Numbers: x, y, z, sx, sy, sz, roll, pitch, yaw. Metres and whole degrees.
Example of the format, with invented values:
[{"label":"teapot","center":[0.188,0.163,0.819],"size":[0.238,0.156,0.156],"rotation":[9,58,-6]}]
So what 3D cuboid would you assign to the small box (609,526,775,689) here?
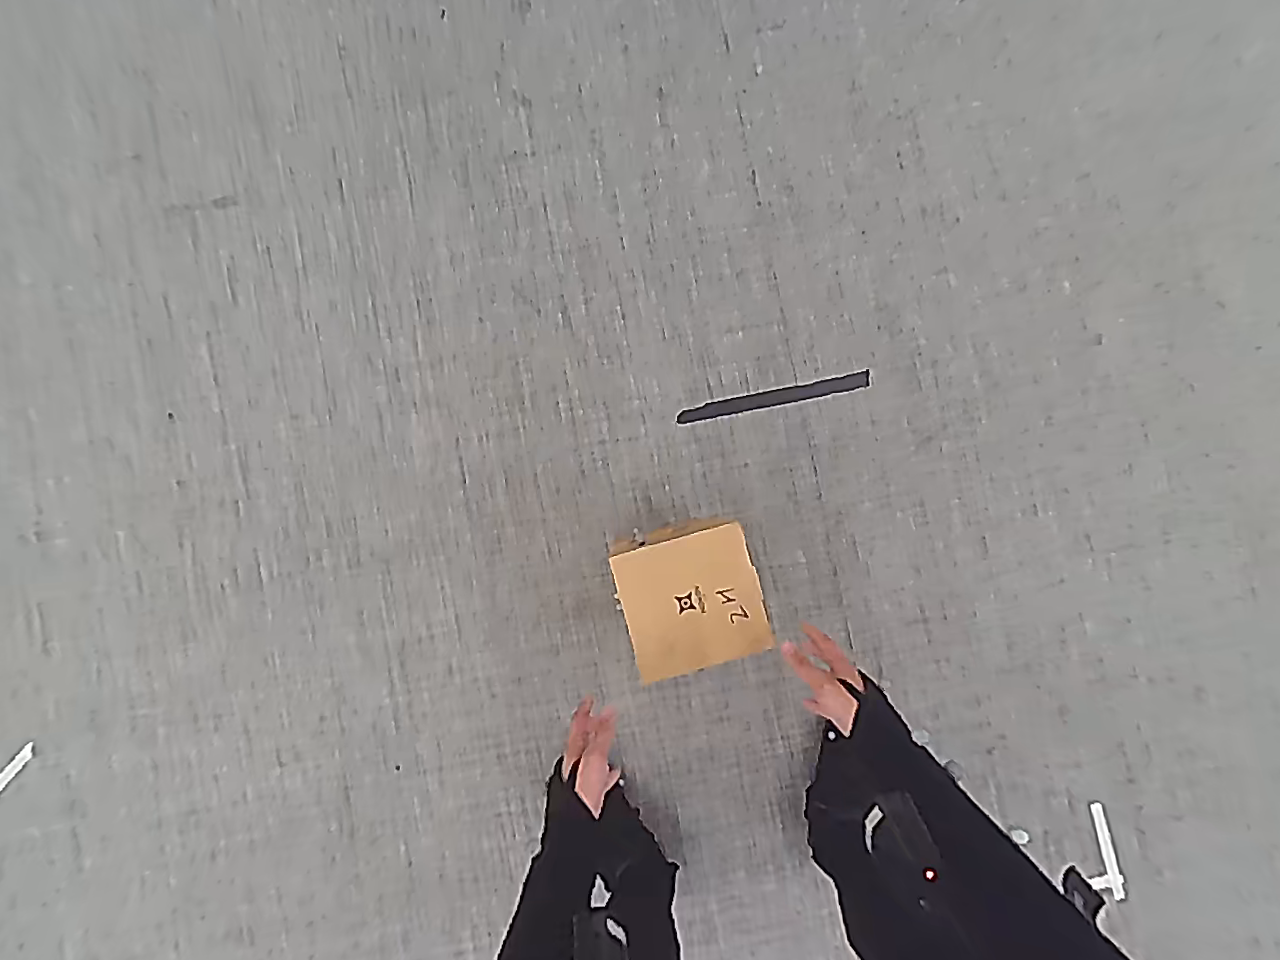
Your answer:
[{"label":"small box","center":[0.066,0.164,0.748],"size":[0.179,0.176,0.168],"rotation":[-16,87,-1]}]
